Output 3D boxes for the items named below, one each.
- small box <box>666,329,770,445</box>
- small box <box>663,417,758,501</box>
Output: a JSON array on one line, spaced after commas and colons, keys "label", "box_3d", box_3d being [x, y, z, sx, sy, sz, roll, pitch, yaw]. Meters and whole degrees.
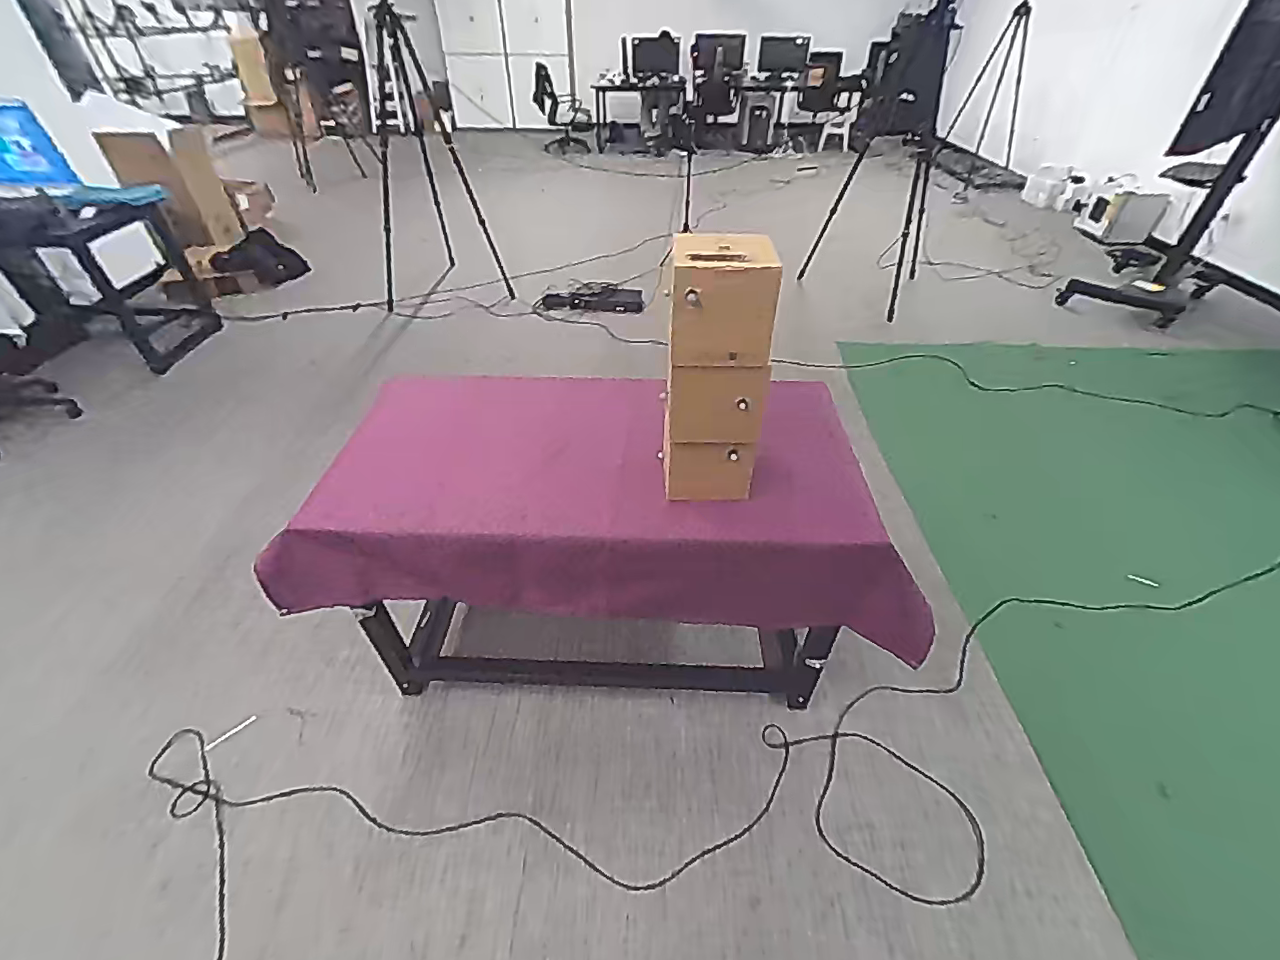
[{"label": "small box", "box_3d": [0.142, -0.179, 1.052, 0.179, 0.176, 0.168, 1, 39, 1]}, {"label": "small box", "box_3d": [0.144, -0.066, 1.171, 0.179, 0.176, 0.168, 0, 40, 0]}]
